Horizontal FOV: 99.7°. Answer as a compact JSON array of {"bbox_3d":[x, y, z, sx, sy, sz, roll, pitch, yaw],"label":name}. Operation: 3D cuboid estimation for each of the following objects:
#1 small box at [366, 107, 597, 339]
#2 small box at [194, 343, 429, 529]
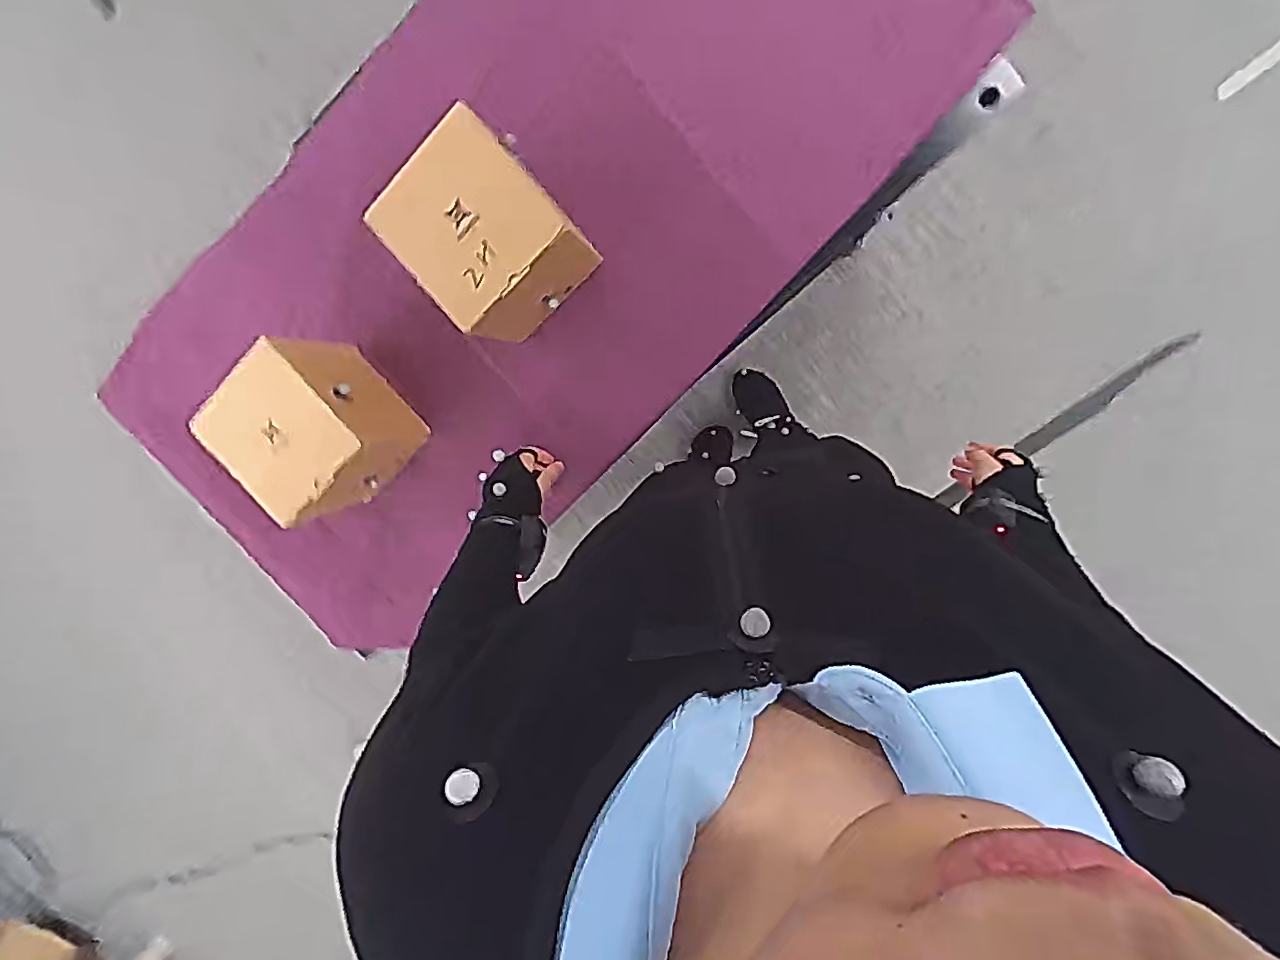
[{"bbox_3d":[-0.180,-0.291,0.663,0.168,0.176,0.179,-41,92,14],"label":"small box"},{"bbox_3d":[-0.437,-0.062,0.746,0.168,0.176,0.179,-42,92,12],"label":"small box"}]
